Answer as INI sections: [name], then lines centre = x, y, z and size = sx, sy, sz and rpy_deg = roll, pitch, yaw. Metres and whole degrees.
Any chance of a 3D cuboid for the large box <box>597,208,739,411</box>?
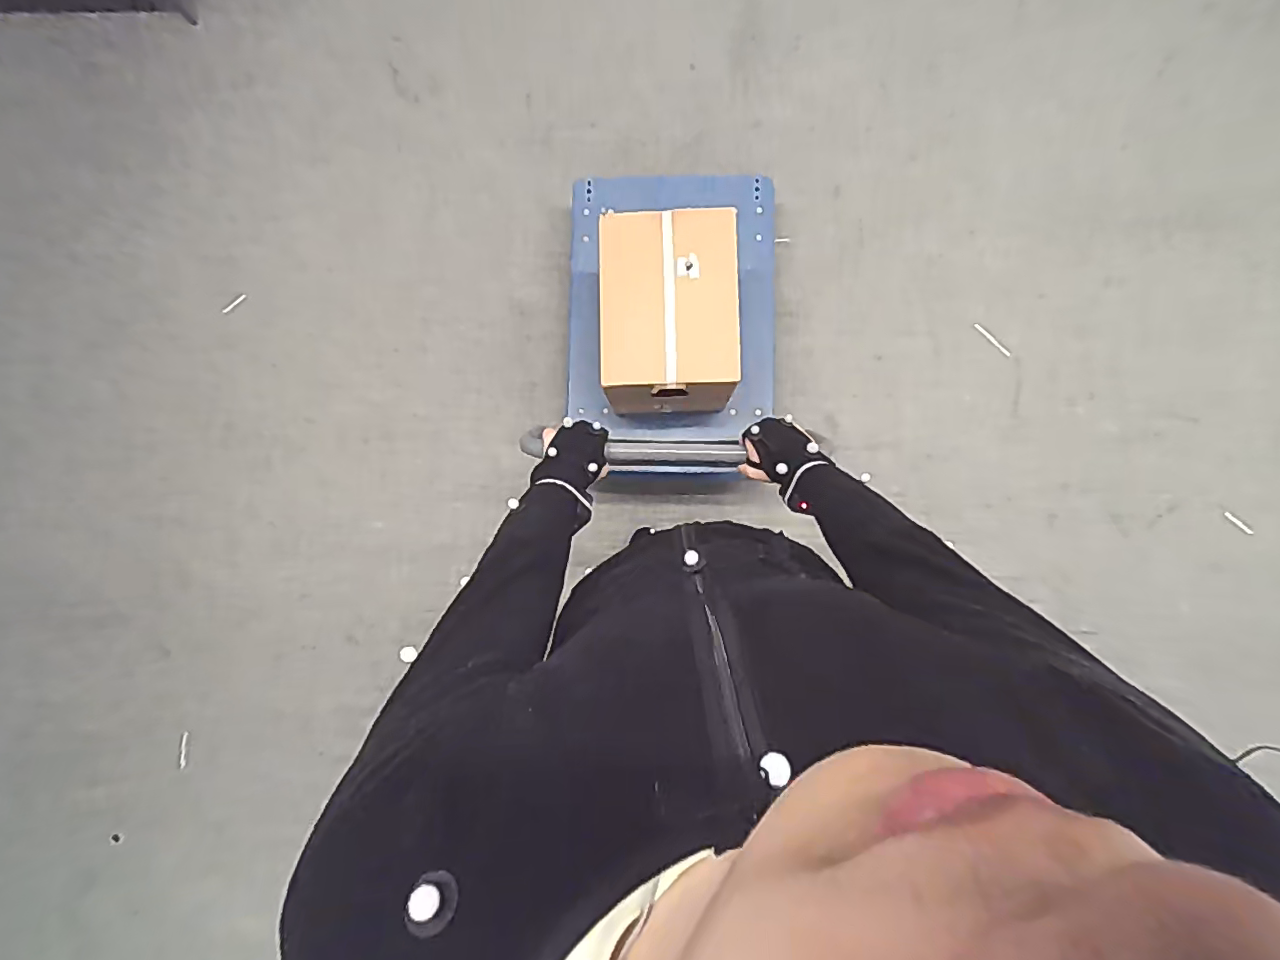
[large box]
centre = 0.069, -0.405, 1.371
size = 0.320, 0.320, 0.408
rpy_deg = -2, 86, 3
